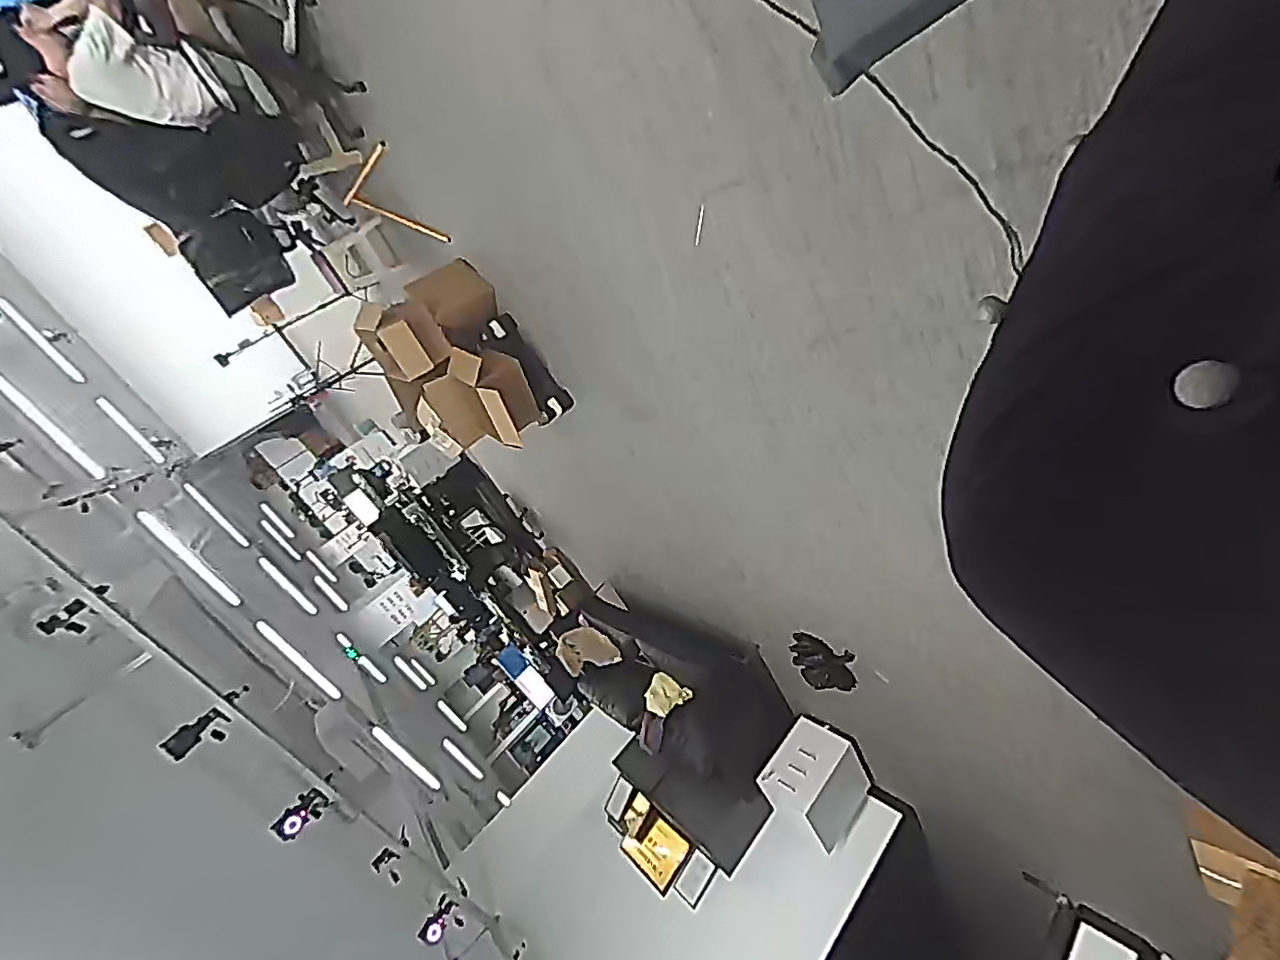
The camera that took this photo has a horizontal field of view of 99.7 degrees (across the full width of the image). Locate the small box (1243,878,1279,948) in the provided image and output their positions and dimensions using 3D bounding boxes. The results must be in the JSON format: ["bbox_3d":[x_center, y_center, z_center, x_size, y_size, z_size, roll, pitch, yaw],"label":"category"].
[{"bbox_3d":[1.724,1.197,1.407,0.179,0.176,0.168,1,126,59],"label":"small box"}]
